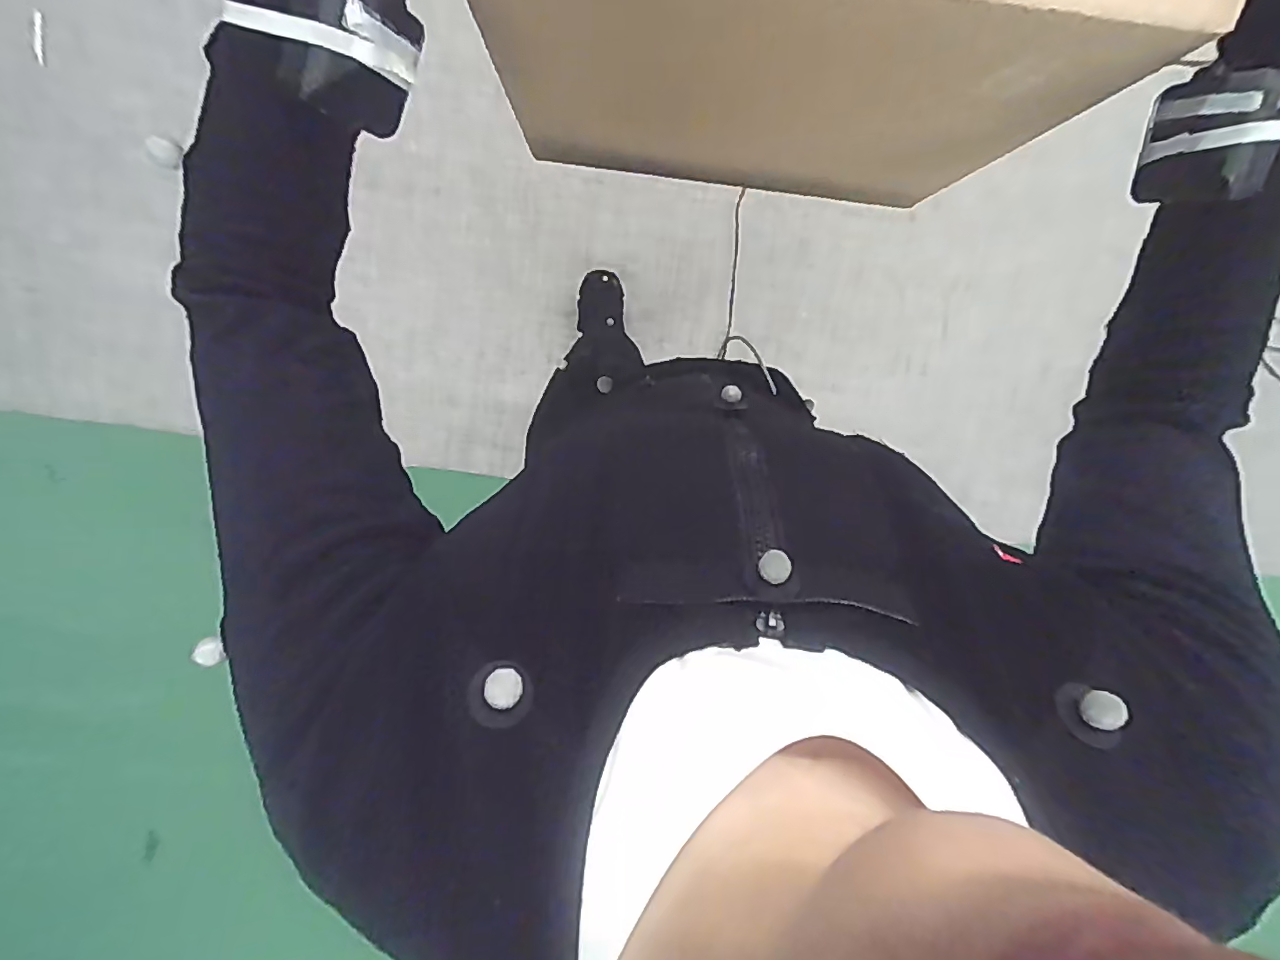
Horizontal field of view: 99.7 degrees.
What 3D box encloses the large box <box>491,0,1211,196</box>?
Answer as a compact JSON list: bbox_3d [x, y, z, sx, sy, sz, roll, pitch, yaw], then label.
[{"bbox_3d":[0.111,-0.435,0.394,0.408,0.320,0.320,5,102,-4],"label":"large box"}]
